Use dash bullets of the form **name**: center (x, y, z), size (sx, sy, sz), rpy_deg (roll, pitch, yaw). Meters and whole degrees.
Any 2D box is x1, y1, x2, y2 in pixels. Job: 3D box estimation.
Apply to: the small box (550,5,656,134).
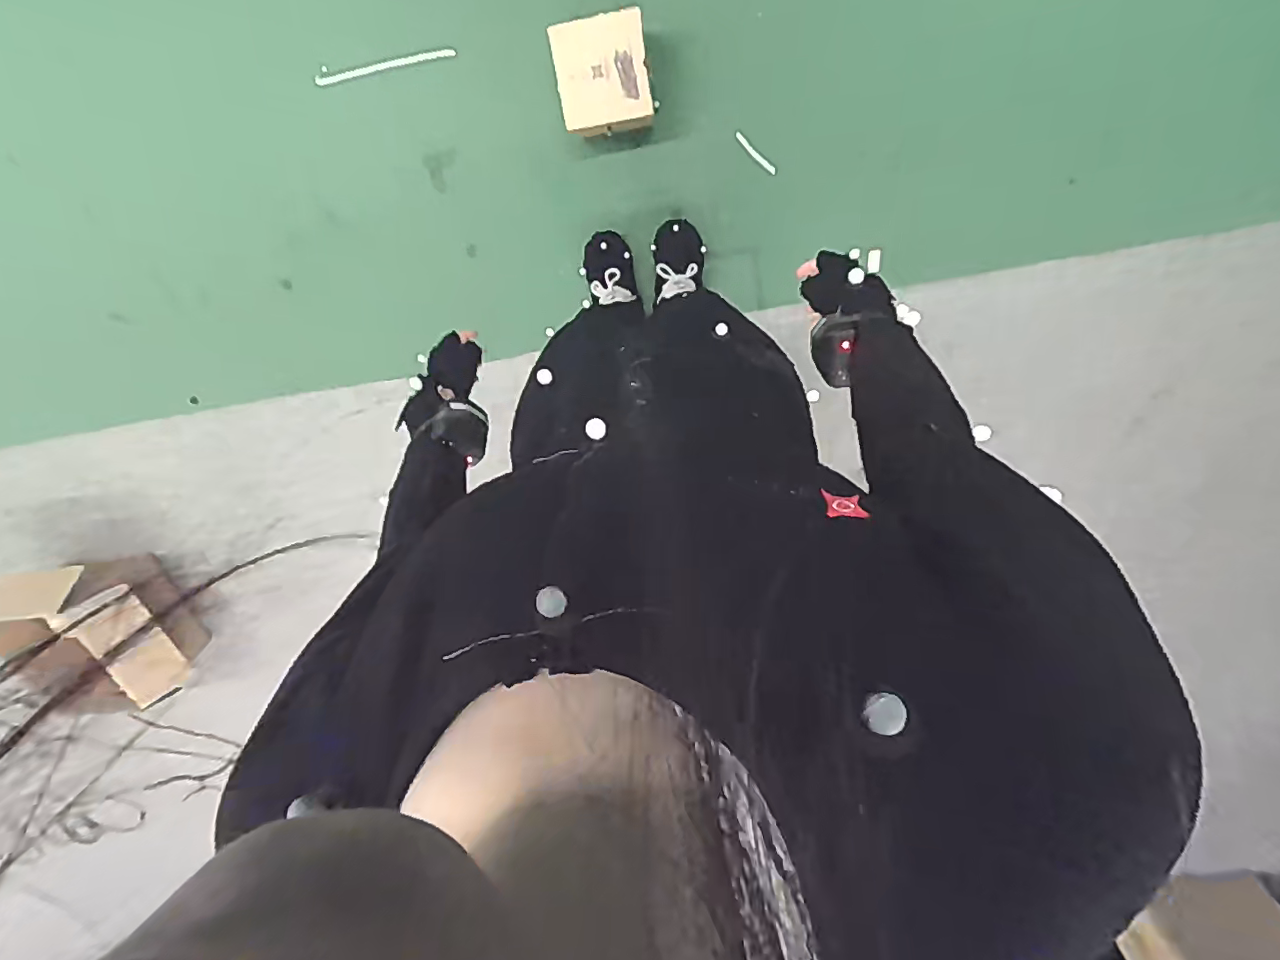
- **small box**: center (-0.065, -0.800, 1.071), size (0.179, 0.176, 0.168), rpy_deg (-7, 118, 6)
